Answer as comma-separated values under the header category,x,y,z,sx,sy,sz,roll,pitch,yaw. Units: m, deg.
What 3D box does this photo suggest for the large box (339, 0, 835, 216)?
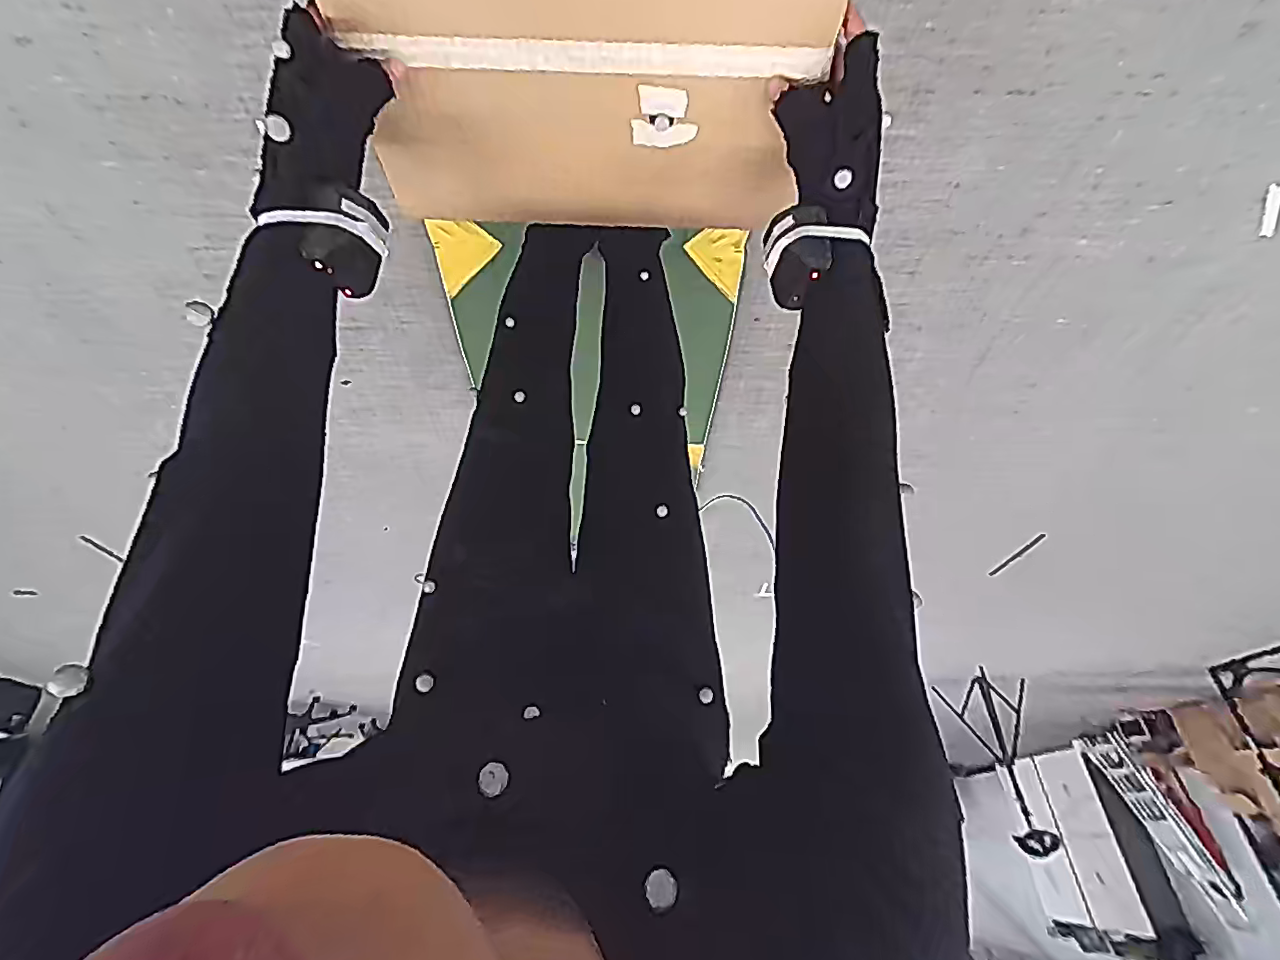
category,x,y,z,sx,sy,sz,roll,pitch,yaw
large box,-0.045,-0.493,0.532,0.408,0.320,0.320,0,150,-1
